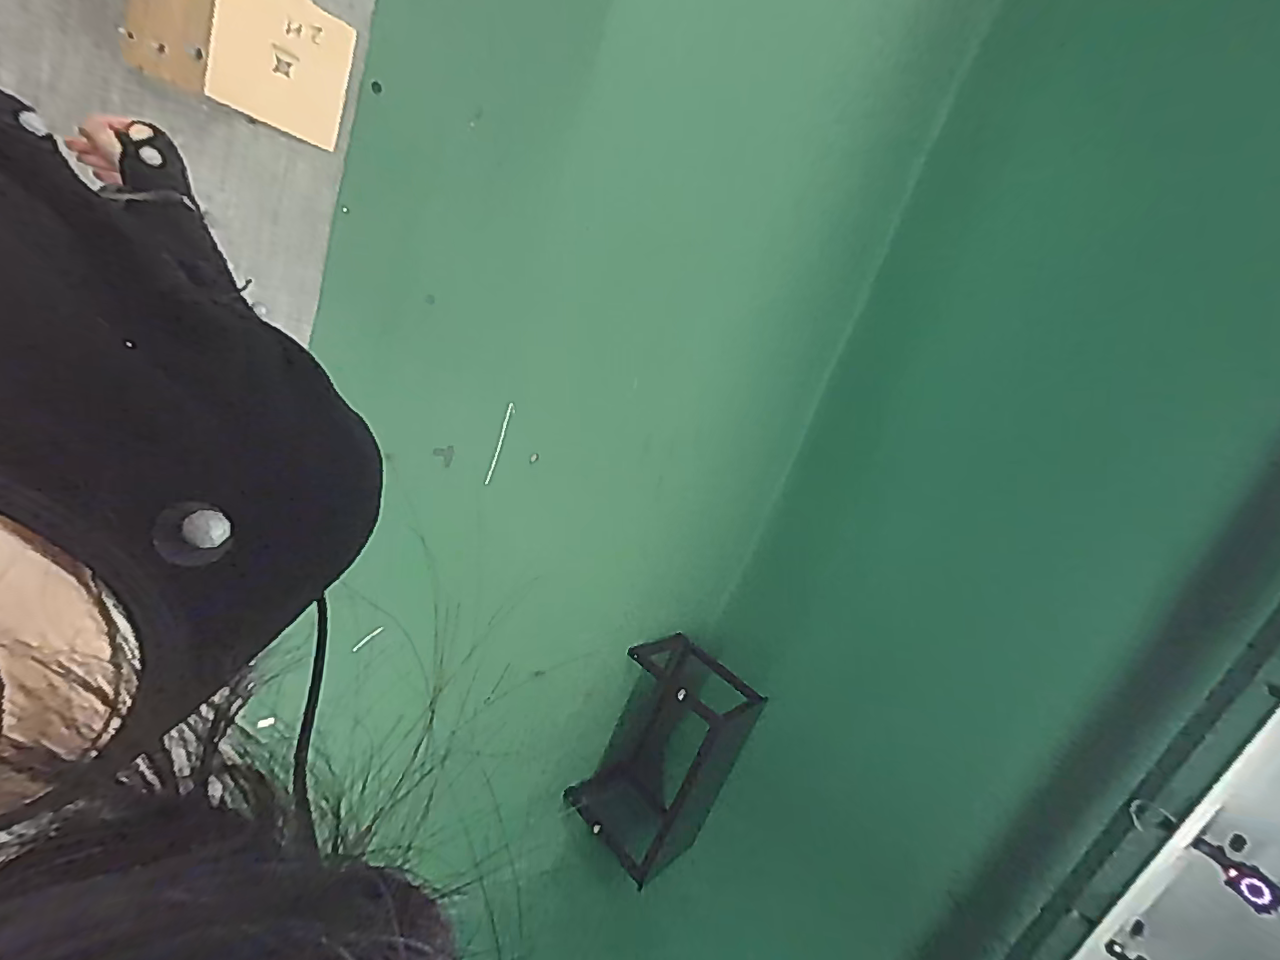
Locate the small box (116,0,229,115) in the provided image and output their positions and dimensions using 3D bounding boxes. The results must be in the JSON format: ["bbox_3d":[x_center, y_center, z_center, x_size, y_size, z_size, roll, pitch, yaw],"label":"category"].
[{"bbox_3d":[-0.798,-0.777,0.965,0.179,0.176,0.168,4,113,-53],"label":"small box"}]

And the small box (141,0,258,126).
[{"bbox_3d":[-0.682,-0.705,0.879,0.168,0.176,0.179,0,117,-52],"label":"small box"}]

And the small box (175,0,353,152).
[{"bbox_3d":[-0.560,-0.624,0.801,0.168,0.176,0.179,1,116,-53],"label":"small box"}]
